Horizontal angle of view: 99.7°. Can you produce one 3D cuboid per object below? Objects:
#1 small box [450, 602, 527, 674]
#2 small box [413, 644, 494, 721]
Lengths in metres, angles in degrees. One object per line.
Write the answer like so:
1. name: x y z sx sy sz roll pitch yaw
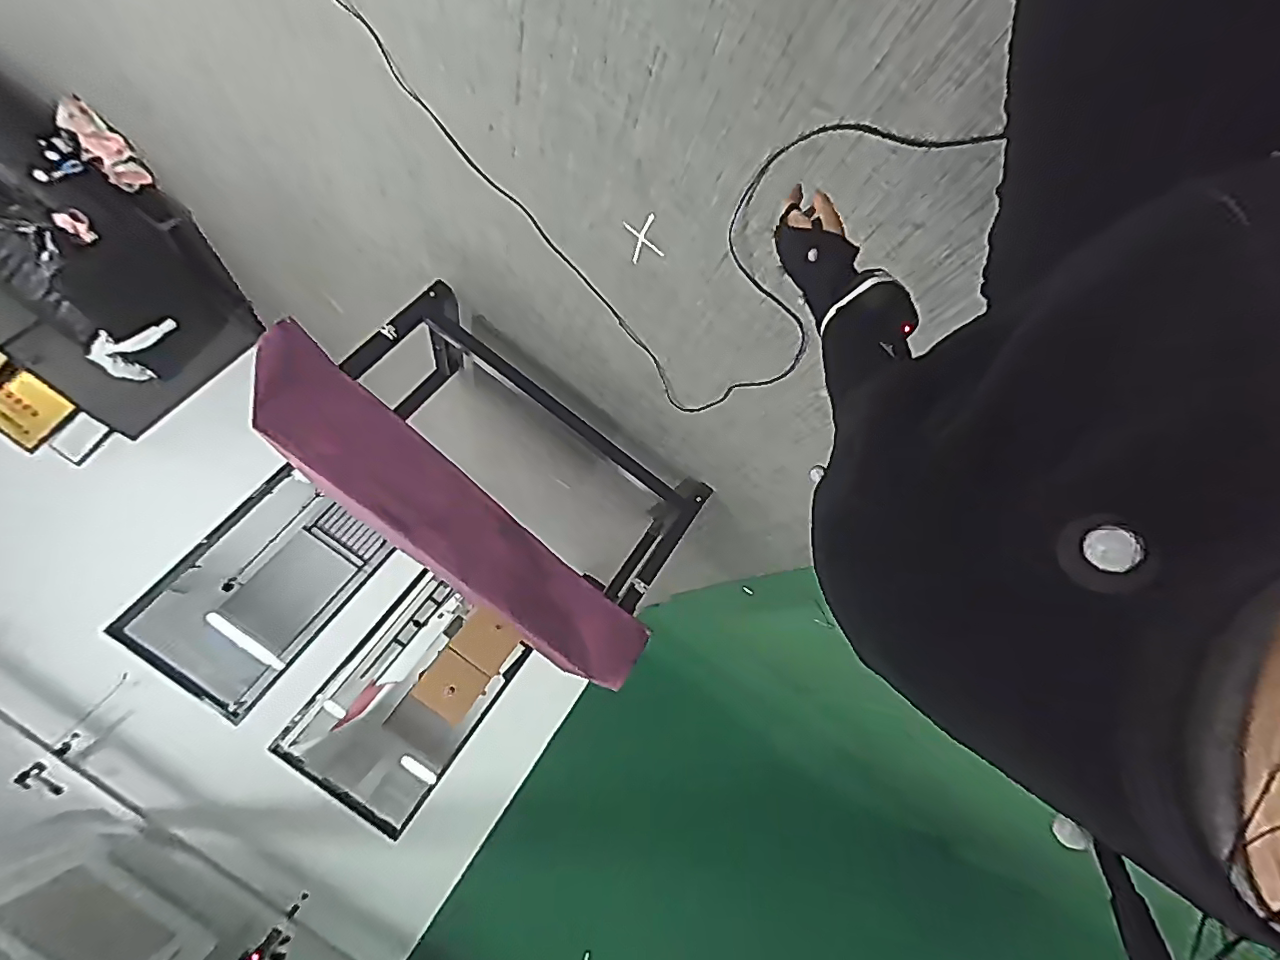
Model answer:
1. small box: -0.499 0.518 1.793 0.179 0.176 0.168 37 158 0
2. small box: -0.591 0.640 1.731 0.179 0.176 0.168 36 158 -1
